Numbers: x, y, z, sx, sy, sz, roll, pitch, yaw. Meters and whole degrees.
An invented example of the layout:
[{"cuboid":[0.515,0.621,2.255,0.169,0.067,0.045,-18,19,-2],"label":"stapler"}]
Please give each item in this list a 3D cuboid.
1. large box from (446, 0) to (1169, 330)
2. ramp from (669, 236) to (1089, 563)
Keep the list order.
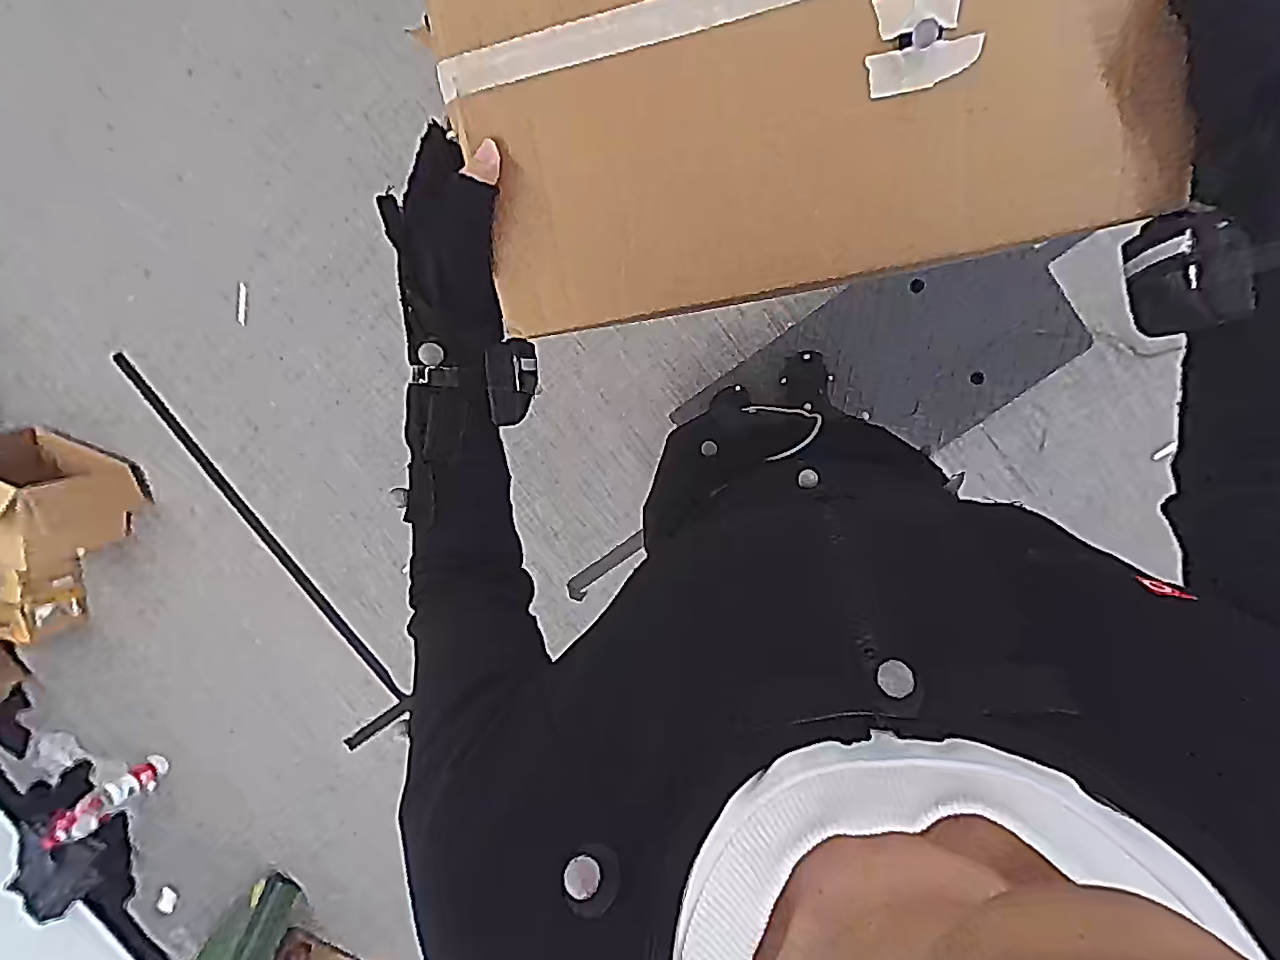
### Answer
[{"cuboid":[0.098,-0.321,0.452,0.408,0.320,0.320,-8,106,9],"label":"large box"},{"cuboid":[0.614,-0.257,1.414,0.991,0.206,0.509,-37,91,14],"label":"ramp"}]
